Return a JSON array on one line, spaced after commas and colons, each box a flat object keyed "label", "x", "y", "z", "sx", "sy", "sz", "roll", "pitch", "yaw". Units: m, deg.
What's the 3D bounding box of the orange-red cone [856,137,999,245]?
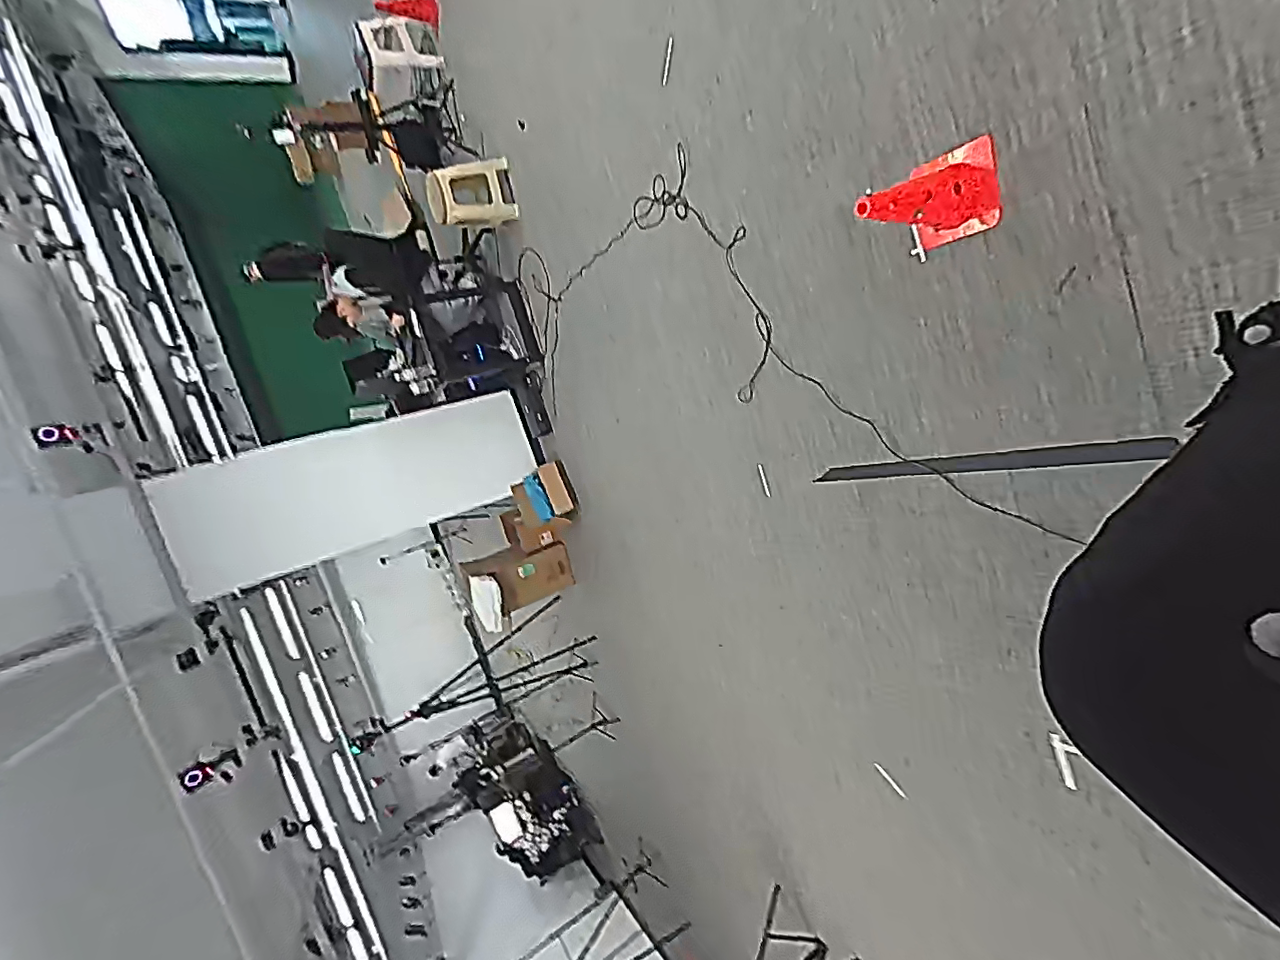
[{"label": "orange-red cone", "x": 0.622, "y": -0.641, "z": 1.235, "sx": 0.199, "sy": 0.360, "sz": 0.198, "roll": 5, "pitch": 114, "yaw": 59}]
